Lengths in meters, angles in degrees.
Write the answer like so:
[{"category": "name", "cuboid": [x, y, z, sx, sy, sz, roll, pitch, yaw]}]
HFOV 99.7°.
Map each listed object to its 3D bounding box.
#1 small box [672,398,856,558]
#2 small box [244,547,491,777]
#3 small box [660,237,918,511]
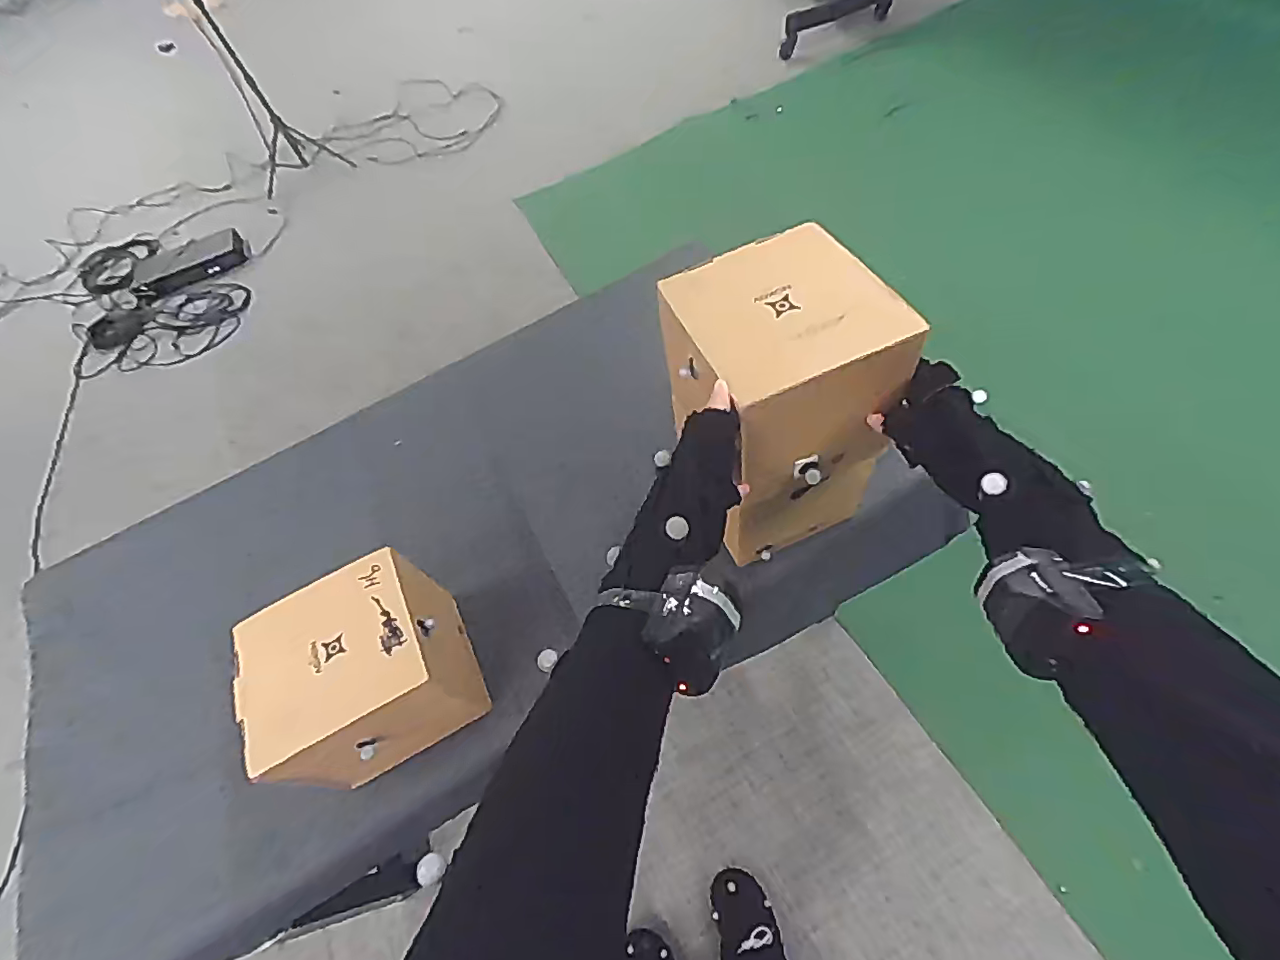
[{"category": "small box", "cuboid": [0.155, -0.021, 0.683, 0.168, 0.176, 0.179, -23, 58, -5]}, {"category": "small box", "cuboid": [-0.299, 0.212, 0.612, 0.179, 0.176, 0.168, -28, 58, -8]}, {"category": "small box", "cuboid": [0.132, -0.100, 0.538, 0.168, 0.176, 0.179, -22, 56, -4]}]
